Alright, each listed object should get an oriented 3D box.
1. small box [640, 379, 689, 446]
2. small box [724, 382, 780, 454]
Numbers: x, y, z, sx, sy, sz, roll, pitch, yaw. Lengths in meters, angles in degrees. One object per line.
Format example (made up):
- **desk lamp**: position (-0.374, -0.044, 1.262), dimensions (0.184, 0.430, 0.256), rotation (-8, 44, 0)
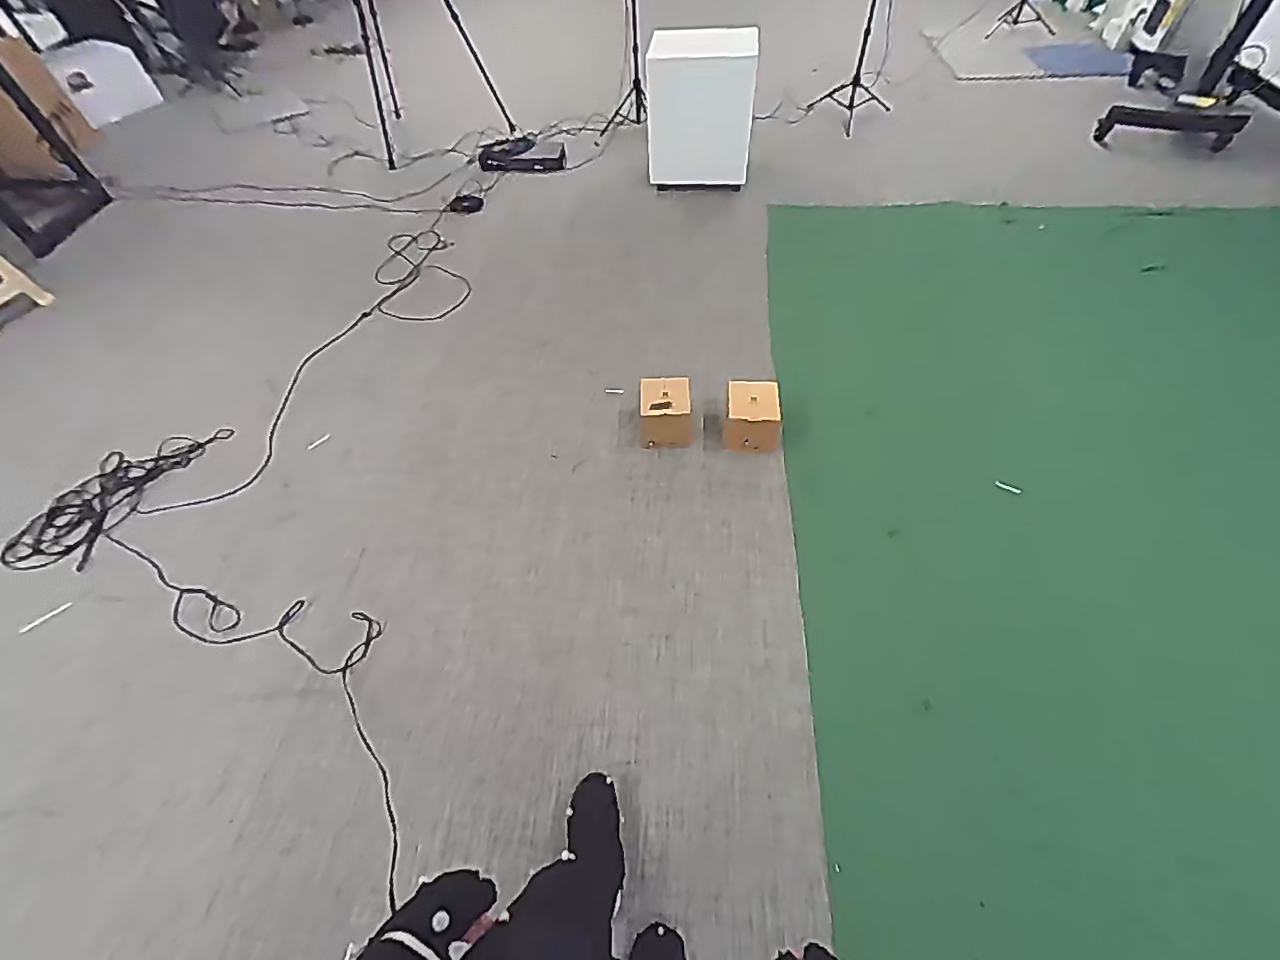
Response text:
- **small box**: position (0.085, -0.229, 1.873), dimensions (0.168, 0.176, 0.179), rotation (-1, 53, 2)
- **small box**: position (0.376, -0.212, 1.848), dimensions (0.168, 0.176, 0.179), rotation (2, 54, 5)
